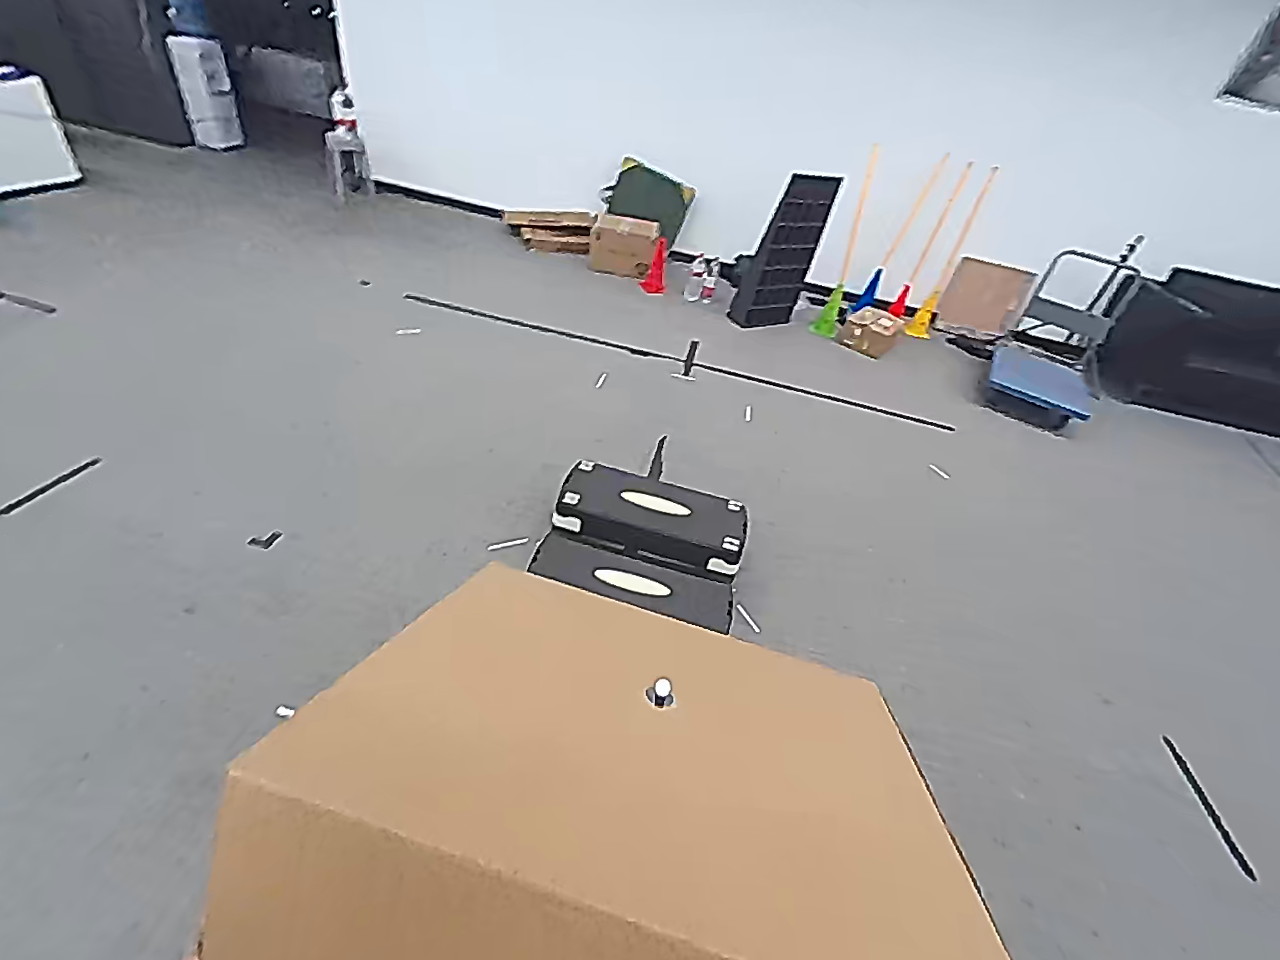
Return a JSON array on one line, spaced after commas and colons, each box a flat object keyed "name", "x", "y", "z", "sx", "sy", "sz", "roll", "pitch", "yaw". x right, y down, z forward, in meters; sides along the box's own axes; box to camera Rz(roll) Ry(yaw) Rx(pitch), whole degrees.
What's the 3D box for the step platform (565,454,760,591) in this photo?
[{"name": "step platform", "x": 0.083, "y": 0.140, "z": 1.947, "sx": 0.684, "sy": 0.204, "sz": 0.286, "roll": 20, "pitch": 39, "yaw": 7}]
